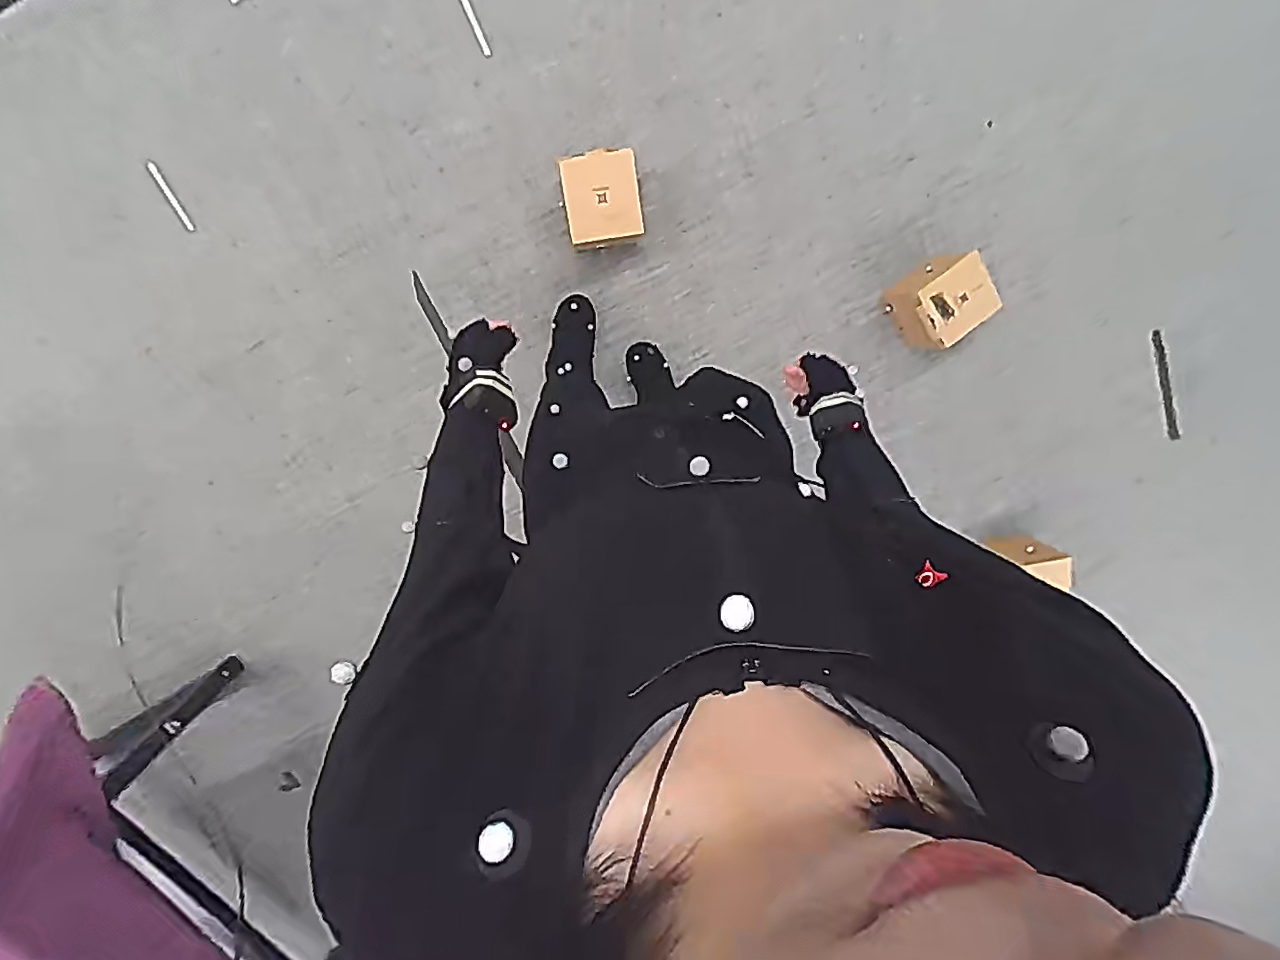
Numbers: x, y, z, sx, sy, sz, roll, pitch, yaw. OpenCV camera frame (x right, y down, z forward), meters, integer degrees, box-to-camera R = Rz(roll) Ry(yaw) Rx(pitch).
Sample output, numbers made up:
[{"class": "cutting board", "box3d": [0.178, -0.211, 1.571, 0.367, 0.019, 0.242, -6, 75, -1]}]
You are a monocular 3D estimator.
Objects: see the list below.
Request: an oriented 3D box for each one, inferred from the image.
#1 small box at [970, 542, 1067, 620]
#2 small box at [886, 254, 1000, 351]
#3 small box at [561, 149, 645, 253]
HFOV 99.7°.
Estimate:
[{"class": "small box", "box3d": [1.156, 0.302, 1.659, 0.179, 0.176, 0.168, -10, 107, -3]}, {"class": "small box", "box3d": [0.773, -0.454, 1.404, 0.179, 0.176, 0.168, -36, 106, 4]}, {"class": "small box", "box3d": [-0.087, -0.643, 1.262, 0.168, 0.176, 0.179, -10, 108, -2]}]
